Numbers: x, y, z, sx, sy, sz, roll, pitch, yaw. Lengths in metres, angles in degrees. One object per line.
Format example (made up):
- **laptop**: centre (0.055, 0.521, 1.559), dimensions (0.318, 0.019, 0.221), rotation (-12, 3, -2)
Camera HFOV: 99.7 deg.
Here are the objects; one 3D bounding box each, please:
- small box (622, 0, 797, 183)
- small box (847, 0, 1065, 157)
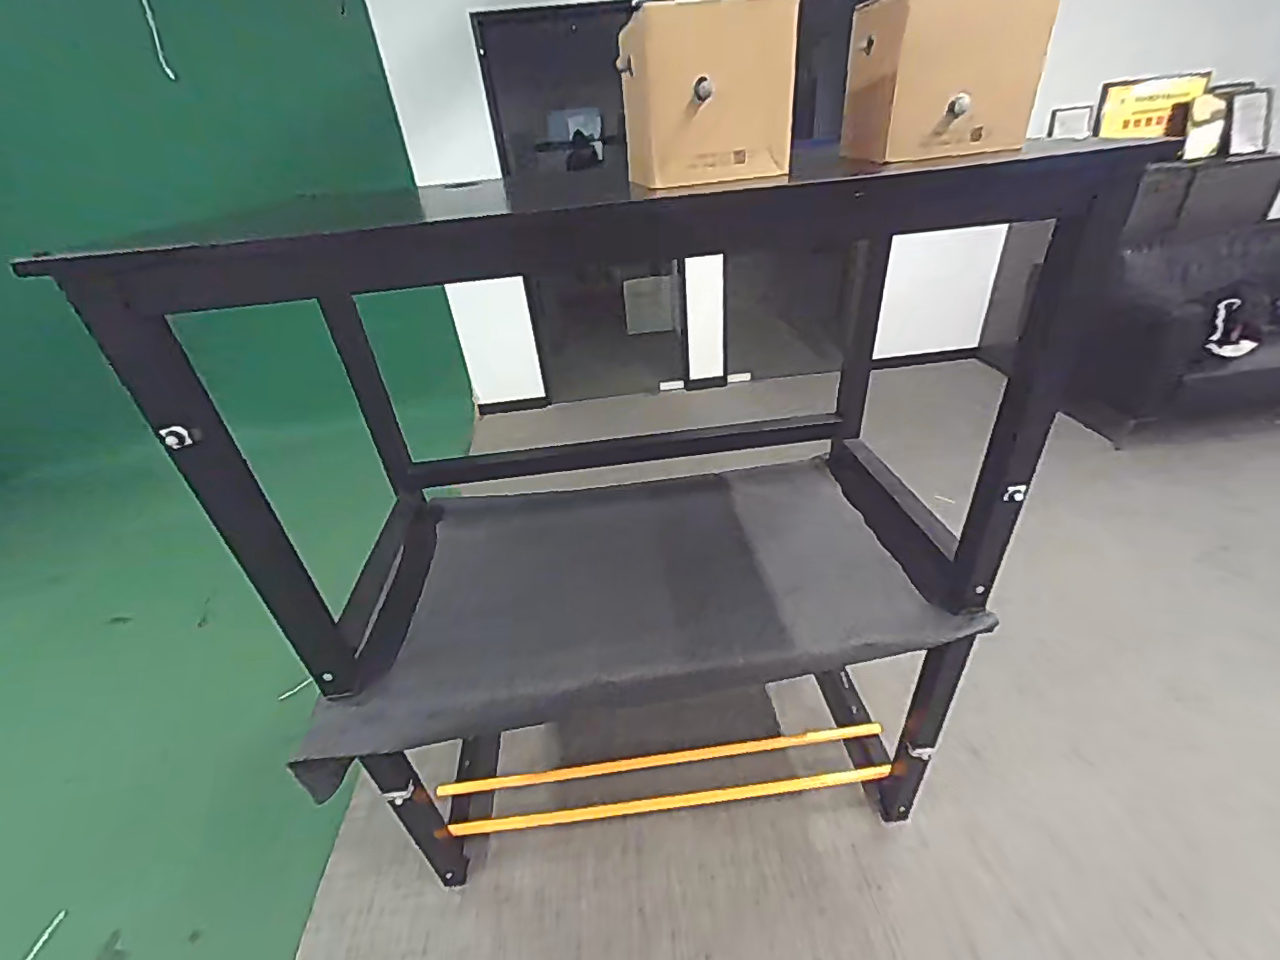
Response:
- **small box**: centre (0.078, -0.463, 0.655), dimensions (0.168, 0.176, 0.179), rotation (-9, 32, -6)
- **small box**: centre (0.369, -0.504, 0.667), dimensions (0.168, 0.176, 0.179), rotation (-4, 34, 3)
